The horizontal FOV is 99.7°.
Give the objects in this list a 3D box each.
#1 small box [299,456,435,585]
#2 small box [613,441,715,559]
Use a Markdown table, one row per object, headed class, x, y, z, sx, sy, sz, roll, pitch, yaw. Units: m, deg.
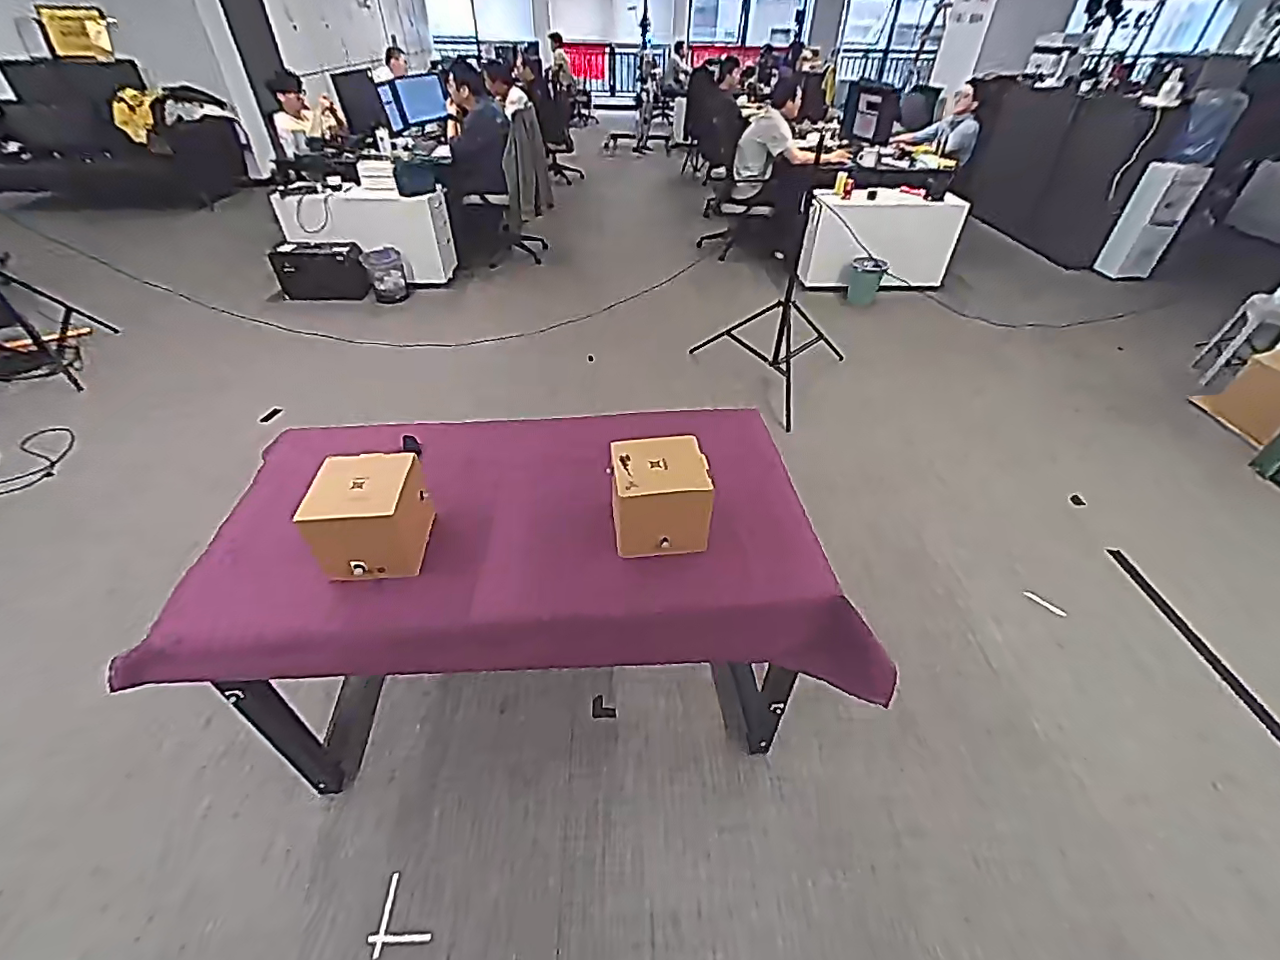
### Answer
| class | x | y | z | sx | sy | sz | roll | pitch | yaw |
| --- | --- | --- | --- | --- | --- | --- | --- | --- | --- |
| small box | -0.500 | 0.076 | 1.024 | 0.168 | 0.176 | 0.179 | -4 | 41 | -5 |
| small box | 0.039 | 0.040 | 1.076 | 0.179 | 0.176 | 0.168 | -4 | 40 | -6 |
